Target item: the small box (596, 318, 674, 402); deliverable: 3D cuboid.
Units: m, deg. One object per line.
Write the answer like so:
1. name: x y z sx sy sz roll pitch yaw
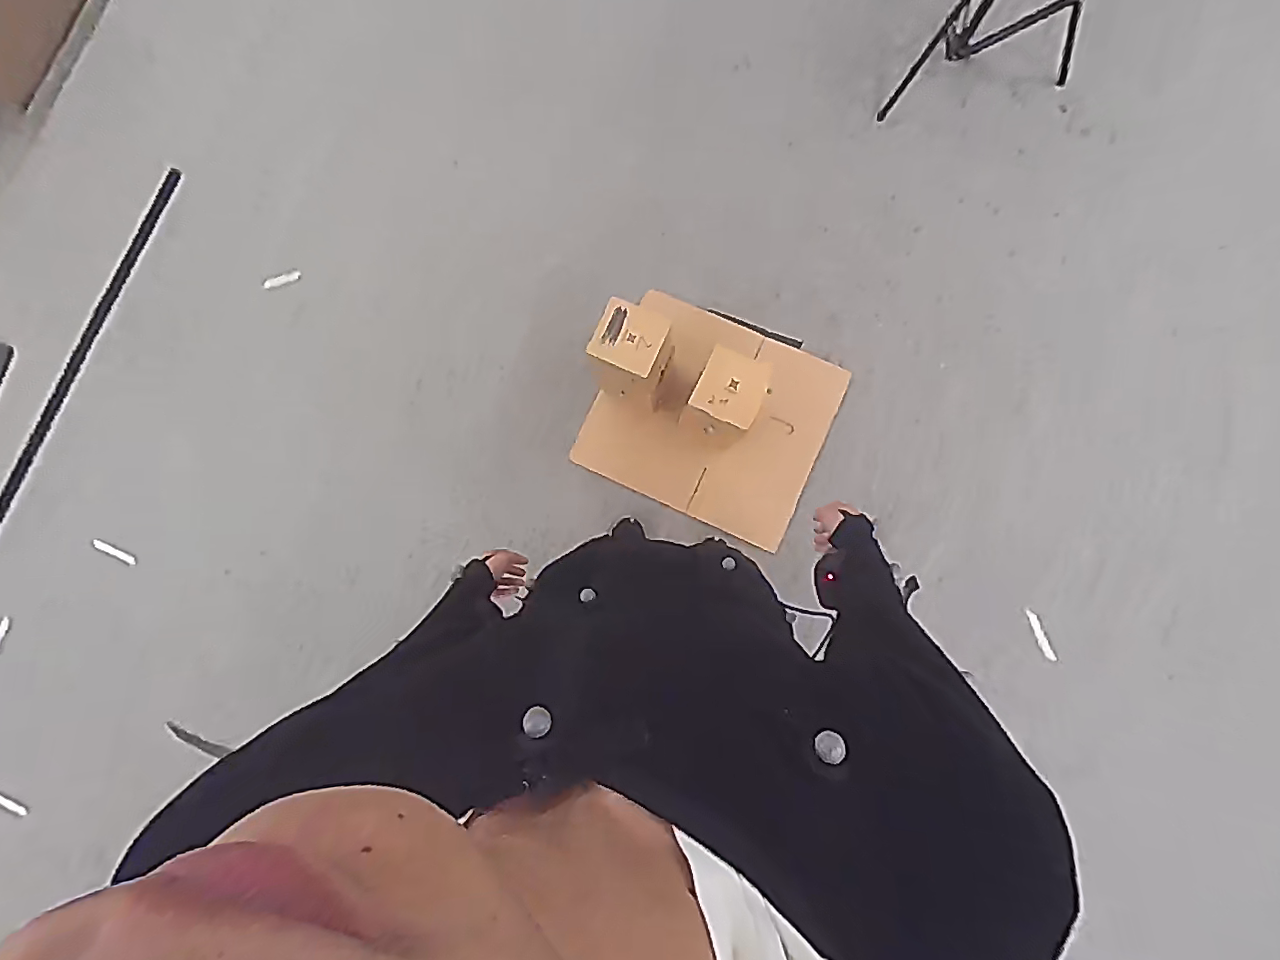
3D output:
1. small box: -0.010 -0.347 1.605 0.179 0.176 0.168 24 86 5

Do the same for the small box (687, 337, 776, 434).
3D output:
1. small box: 0.231 -0.241 1.423 0.168 0.176 0.179 26 87 4

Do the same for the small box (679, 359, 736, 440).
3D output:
1. small box: 0.228 -0.228 1.587 0.179 0.176 0.168 26 87 5
